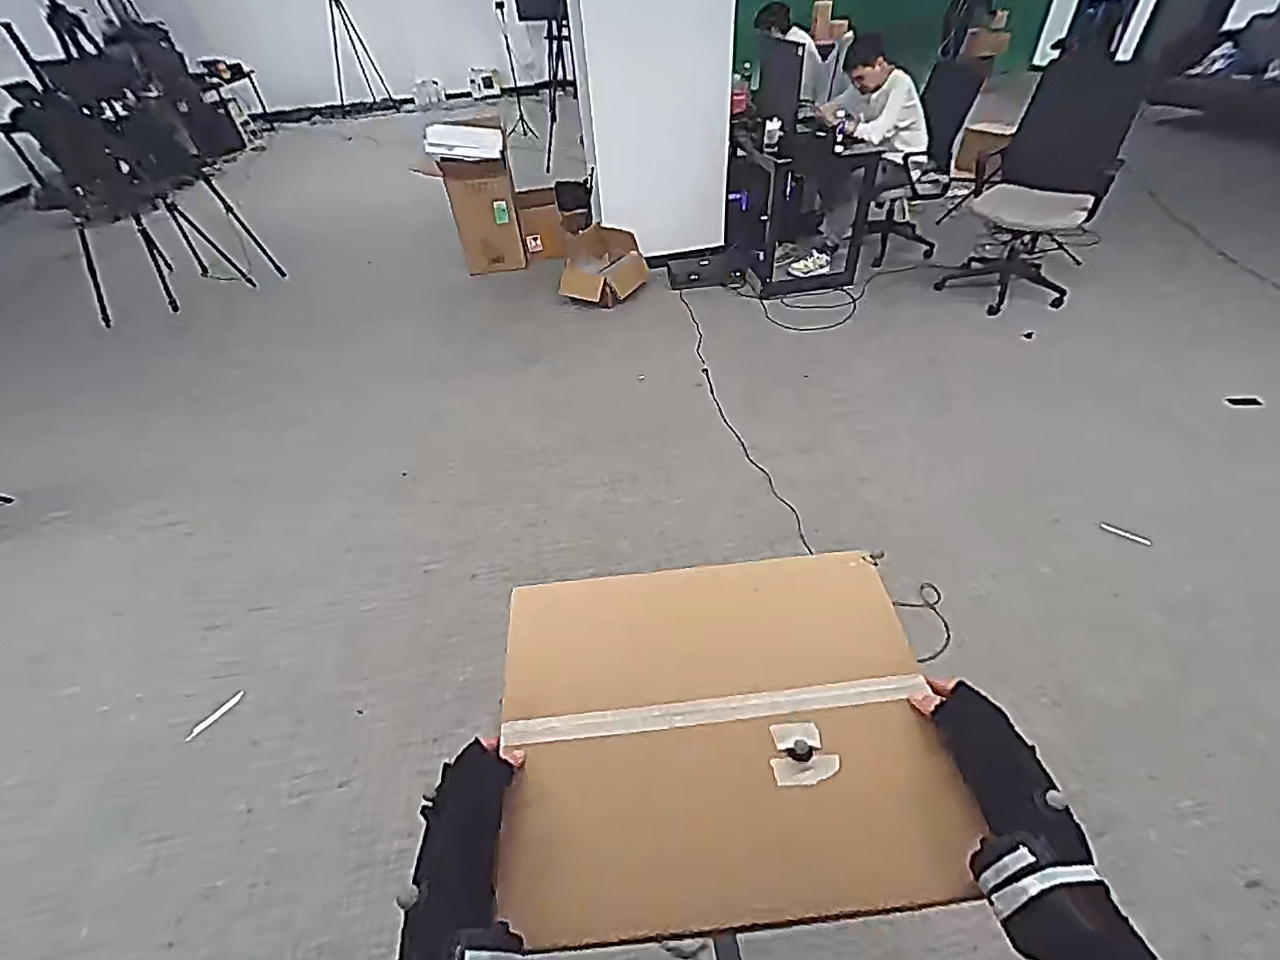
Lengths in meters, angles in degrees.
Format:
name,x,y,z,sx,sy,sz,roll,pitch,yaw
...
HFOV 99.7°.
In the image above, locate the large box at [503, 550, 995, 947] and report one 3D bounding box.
name,x,y,z,sx,sy,sz,roll,pitch,yaw
large box,0.079,0.315,0.631,0.408,0.320,0.320,-6,50,-1
